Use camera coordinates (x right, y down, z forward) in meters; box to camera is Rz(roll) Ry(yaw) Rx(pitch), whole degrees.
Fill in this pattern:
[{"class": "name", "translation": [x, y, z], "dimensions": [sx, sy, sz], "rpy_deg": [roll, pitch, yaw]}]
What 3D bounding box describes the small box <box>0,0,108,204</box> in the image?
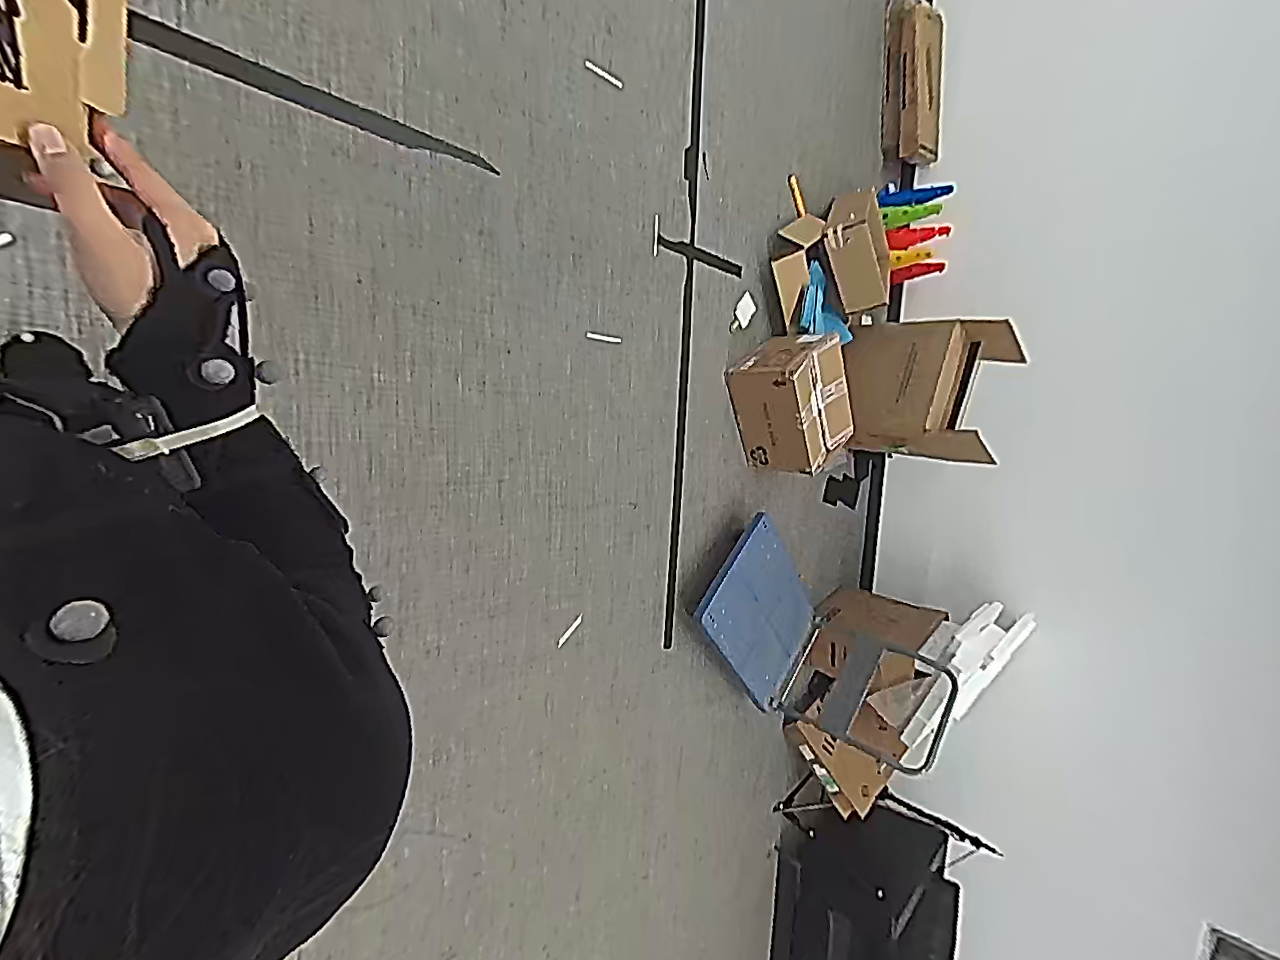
[{"class": "small box", "translation": [-0.396, -0.259, 0.272], "dimensions": [0.179, 0.176, 0.168], "rpy_deg": [-1, 100, -46]}]
